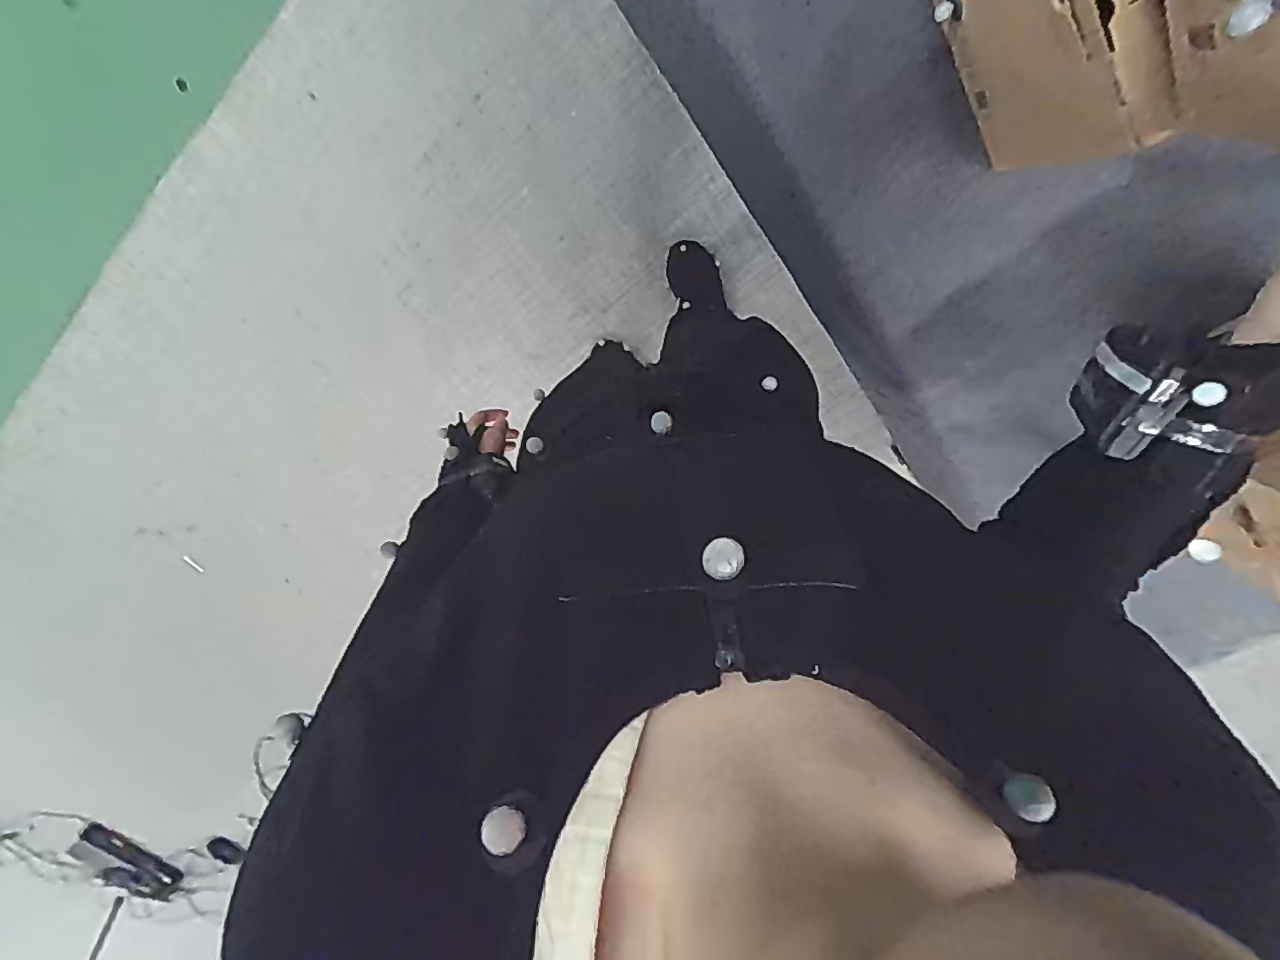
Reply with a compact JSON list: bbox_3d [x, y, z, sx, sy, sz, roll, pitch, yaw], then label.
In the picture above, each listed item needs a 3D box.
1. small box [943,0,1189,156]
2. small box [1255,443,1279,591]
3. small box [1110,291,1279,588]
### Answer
[{"bbox_3d":[0.327,-0.341,0.348,0.179,0.176,0.168,-31,111,17],"label":"small box"},{"bbox_3d":[0.557,0.037,0.337,0.179,0.176,0.168,-33,110,18],"label":"small box"},{"bbox_3d":[0.570,-0.043,0.478,0.179,0.176,0.168,-32,110,19],"label":"small box"}]
